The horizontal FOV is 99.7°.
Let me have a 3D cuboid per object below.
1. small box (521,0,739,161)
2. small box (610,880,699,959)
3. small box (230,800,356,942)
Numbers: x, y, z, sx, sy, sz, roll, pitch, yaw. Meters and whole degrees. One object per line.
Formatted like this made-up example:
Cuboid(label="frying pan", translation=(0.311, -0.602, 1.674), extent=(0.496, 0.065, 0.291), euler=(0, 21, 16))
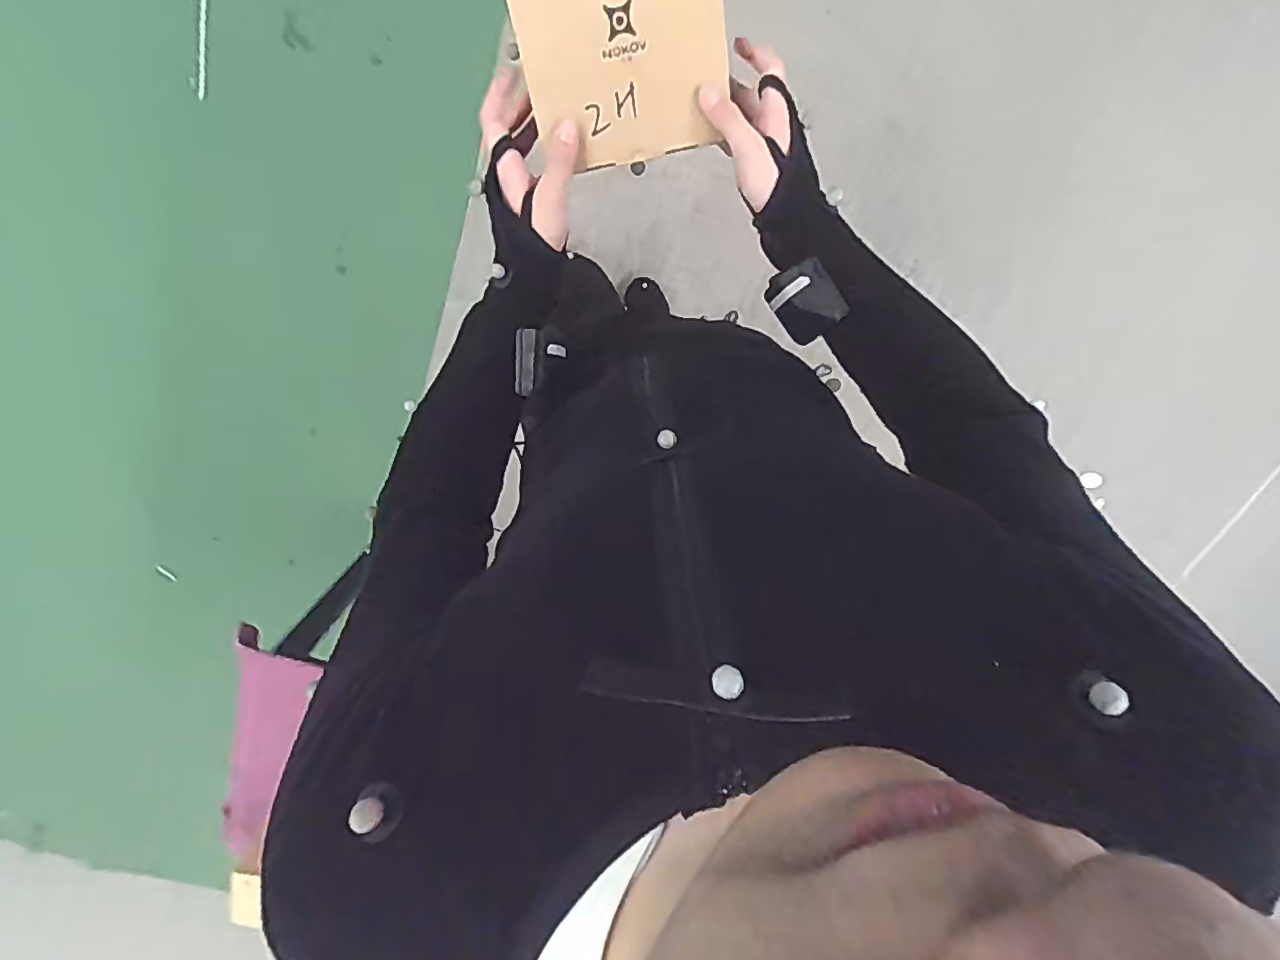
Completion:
Cuboid(label="small box", translation=(-0.011, -0.401, 0.486), extent=(0.168, 0.176, 0.179), euler=(-8, 122, 4))
Cuboid(label="small box", translation=(0.026, 1.070, 1.248), extent=(0.168, 0.176, 0.179), euler=(15, 113, -5))
Cuboid(label="small box", translation=(-0.731, 0.828, 1.152), extent=(0.168, 0.176, 0.179), euler=(16, 112, -7))
